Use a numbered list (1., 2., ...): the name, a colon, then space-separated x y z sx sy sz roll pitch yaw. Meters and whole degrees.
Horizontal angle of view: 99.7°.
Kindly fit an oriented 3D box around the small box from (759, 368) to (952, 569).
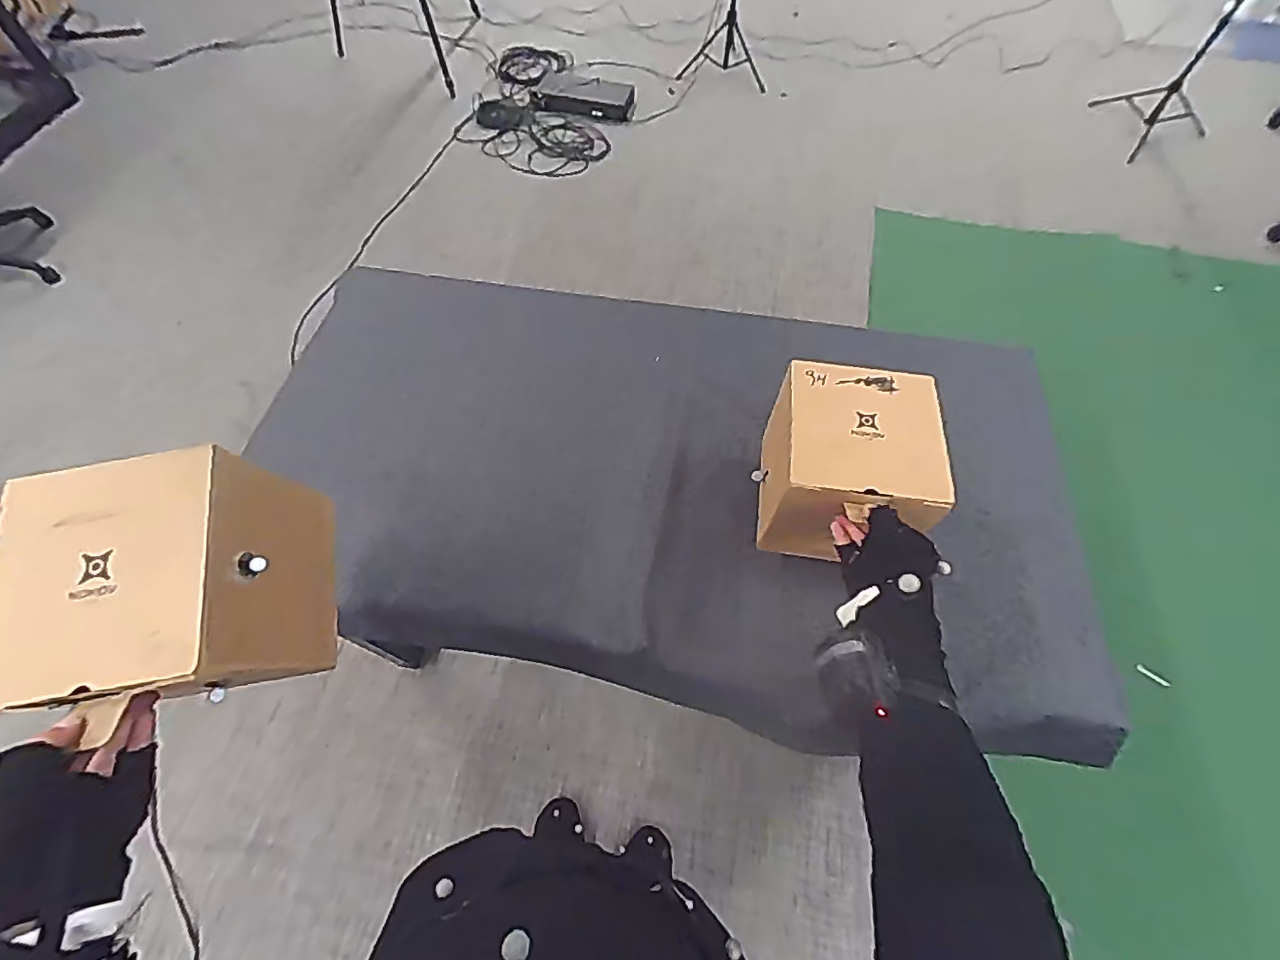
1. small box: 0.242 -0.007 0.652 0.168 0.176 0.179 8 60 3

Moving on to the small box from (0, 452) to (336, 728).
1. small box: -0.387 0.097 0.464 0.168 0.176 0.179 -11 71 -1
